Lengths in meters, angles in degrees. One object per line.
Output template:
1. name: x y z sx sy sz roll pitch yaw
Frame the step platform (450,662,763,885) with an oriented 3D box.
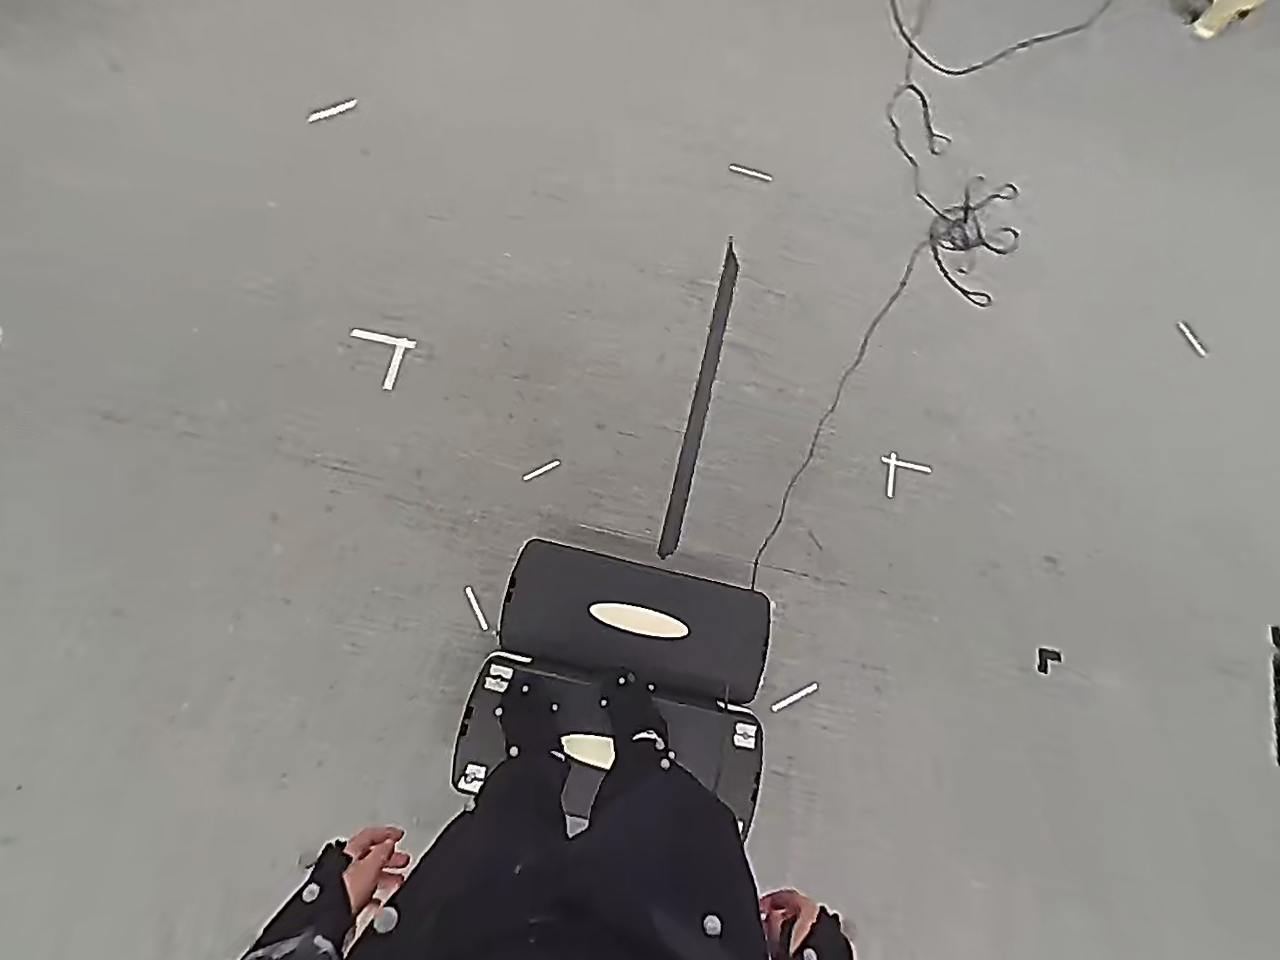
1. step platform: -0.069 0.653 1.237 0.684 0.204 0.286 18 73 0
